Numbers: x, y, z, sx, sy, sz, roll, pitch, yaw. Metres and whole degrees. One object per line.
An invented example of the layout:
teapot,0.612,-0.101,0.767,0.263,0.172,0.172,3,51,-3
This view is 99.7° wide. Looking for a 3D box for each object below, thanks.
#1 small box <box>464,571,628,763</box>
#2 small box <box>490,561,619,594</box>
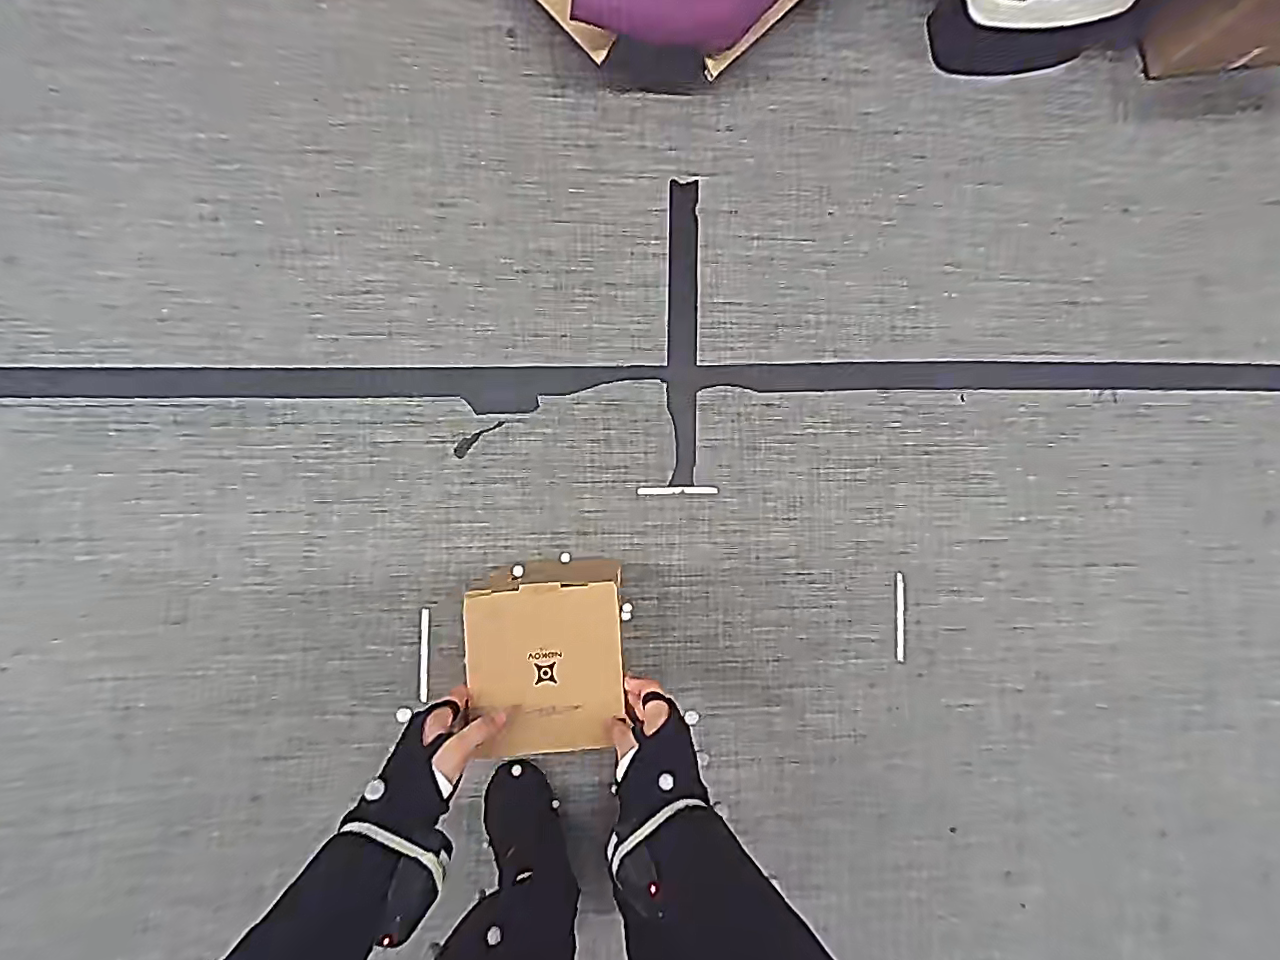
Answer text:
small box,-0.104,0.208,0.653,0.168,0.176,0.179,-5,89,-2
small box,-0.119,0.214,0.815,0.179,0.176,0.168,-2,88,-4
